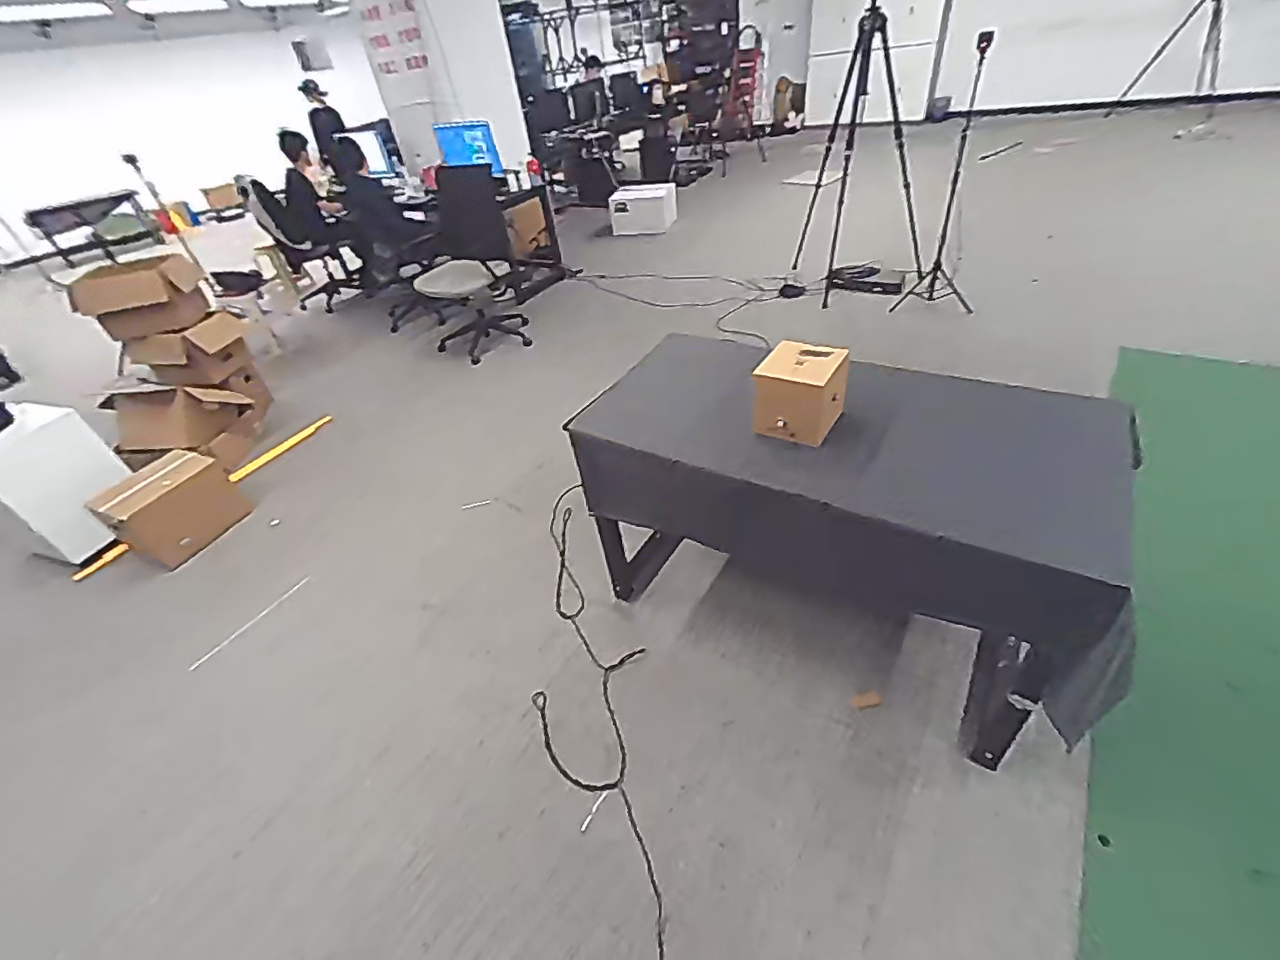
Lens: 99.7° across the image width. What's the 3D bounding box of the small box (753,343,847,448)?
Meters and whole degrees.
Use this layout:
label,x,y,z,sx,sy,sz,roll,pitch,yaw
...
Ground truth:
label,x,y,z,sx,sy,sz,roll,pitch,yaw
small box,0.377,-0.203,1.291,0.168,0.176,0.179,18,46,31
